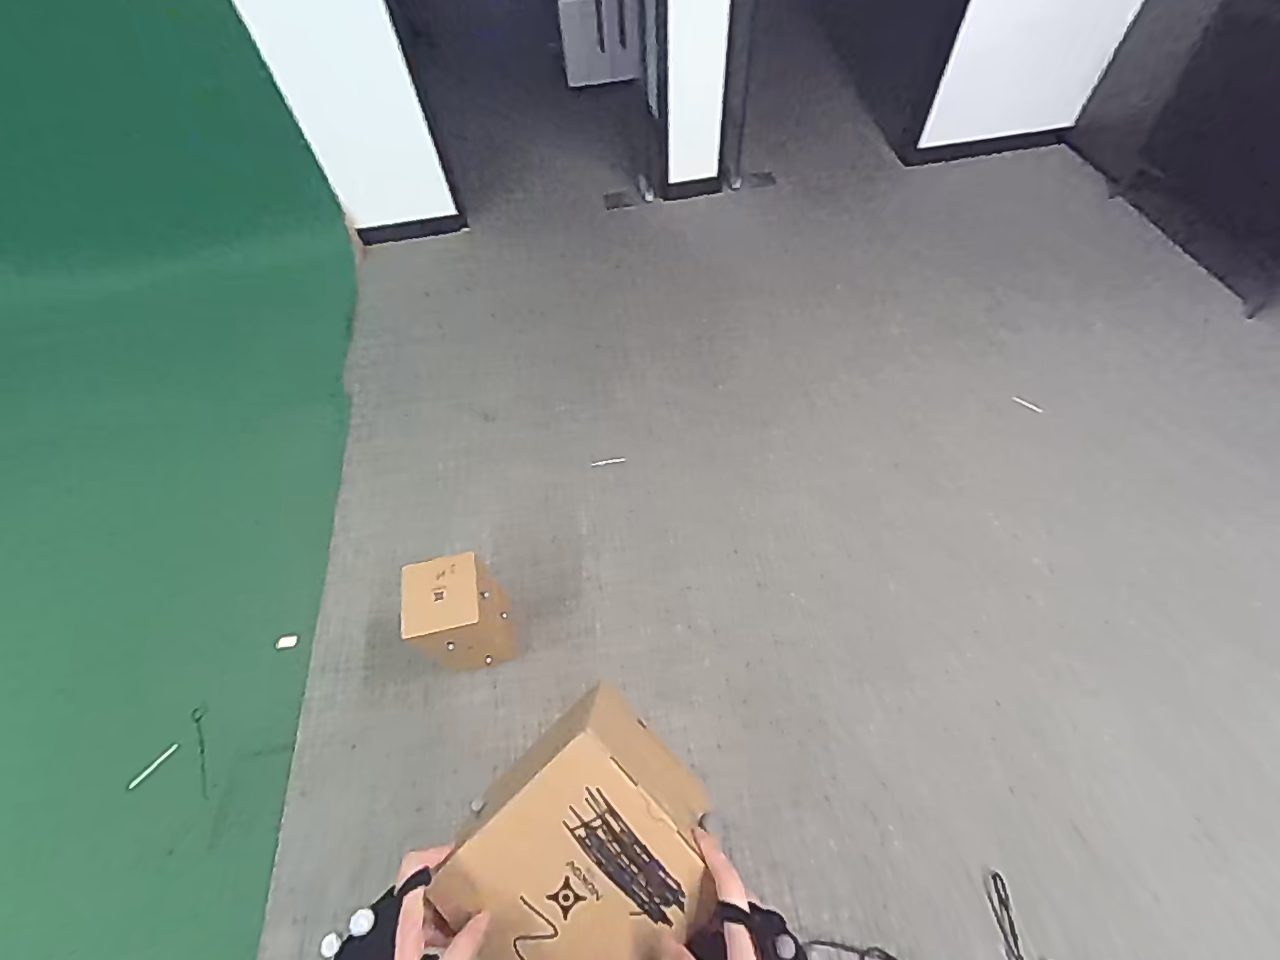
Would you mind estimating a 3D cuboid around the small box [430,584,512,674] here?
[{"bbox_3d":[-0.434,0.394,1.407,0.168,0.176,0.179,-10,56,-4],"label":"small box"}]

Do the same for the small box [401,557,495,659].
[{"bbox_3d":[-0.443,0.307,1.267,0.168,0.176,0.179,-11,57,-5],"label":"small box"}]
